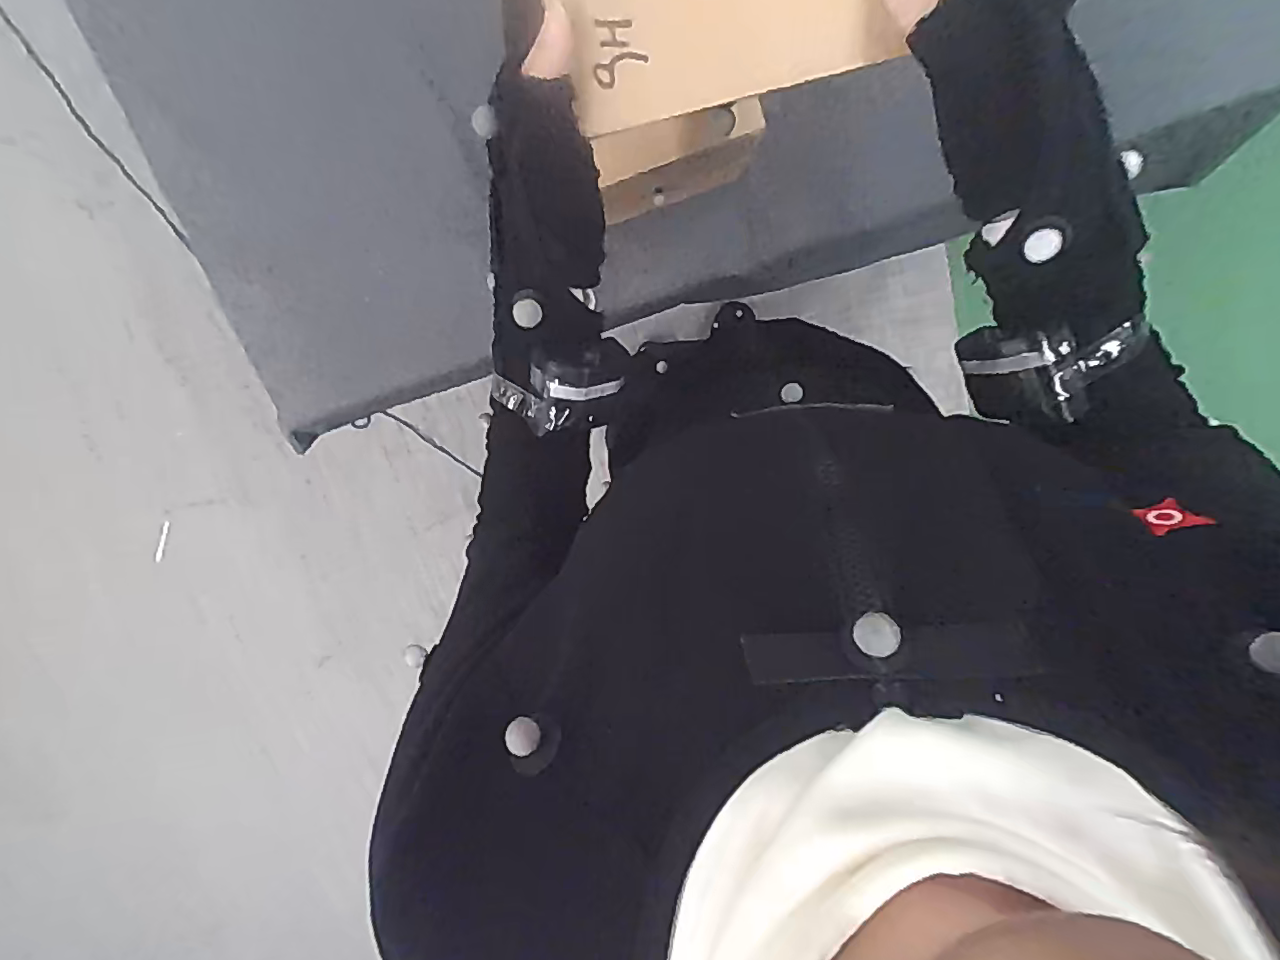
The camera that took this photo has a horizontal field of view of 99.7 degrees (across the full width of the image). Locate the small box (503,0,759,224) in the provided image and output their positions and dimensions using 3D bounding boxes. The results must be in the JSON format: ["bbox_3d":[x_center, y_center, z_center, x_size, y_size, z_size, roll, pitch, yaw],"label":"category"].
[{"bbox_3d":[-0.004,-0.365,0.514,0.179,0.176,0.168,-17,105,7],"label":"small box"}]
